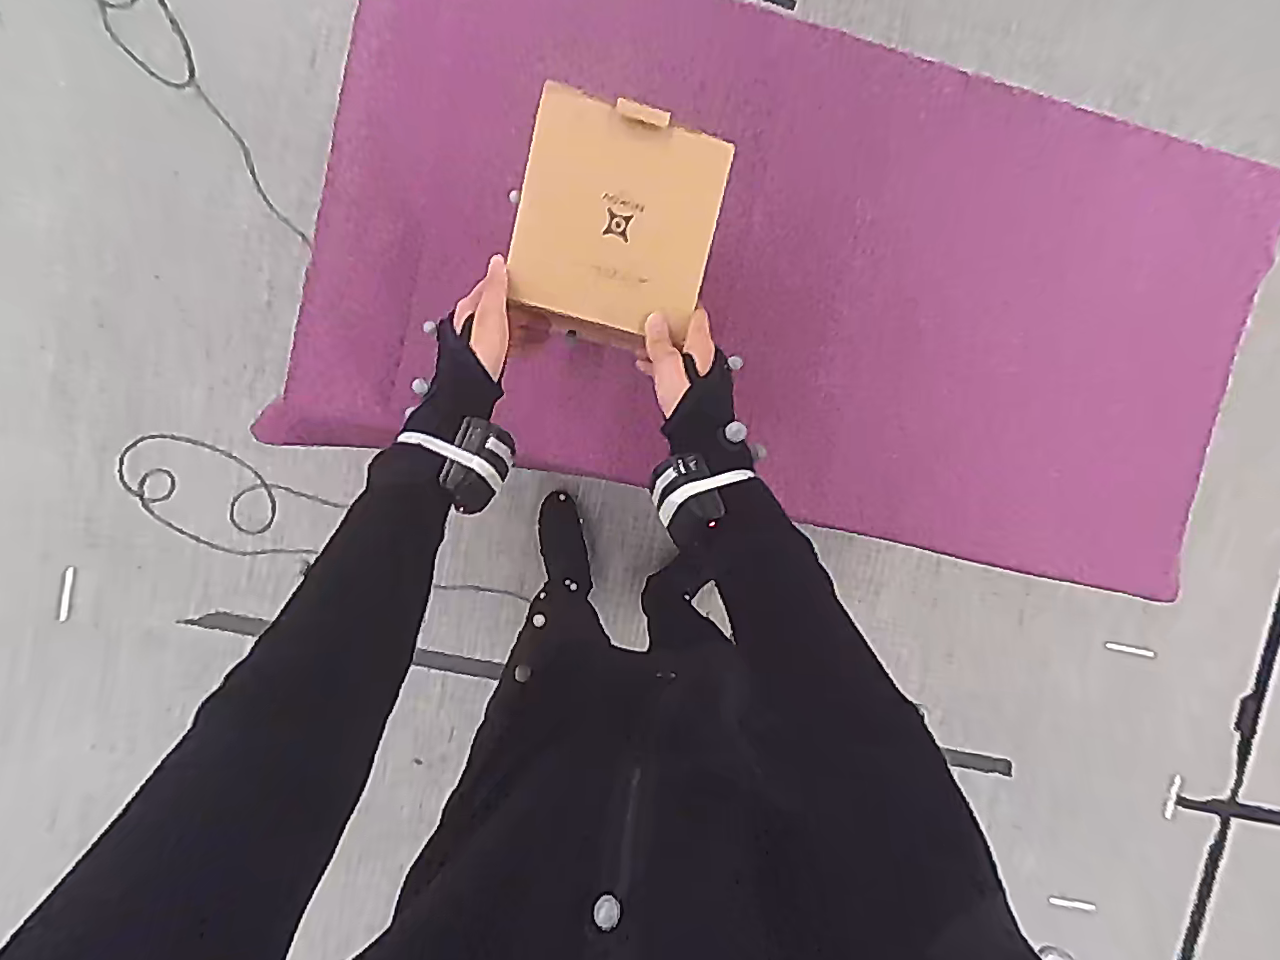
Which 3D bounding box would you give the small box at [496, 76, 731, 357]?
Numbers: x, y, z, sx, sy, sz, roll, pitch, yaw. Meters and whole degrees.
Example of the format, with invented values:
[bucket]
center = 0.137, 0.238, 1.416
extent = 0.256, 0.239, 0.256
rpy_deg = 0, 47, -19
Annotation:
[small box]
center = -0.033, -0.230, 0.527
extent = 0.168, 0.176, 0.179
rpy_deg = 14, 97, -10
